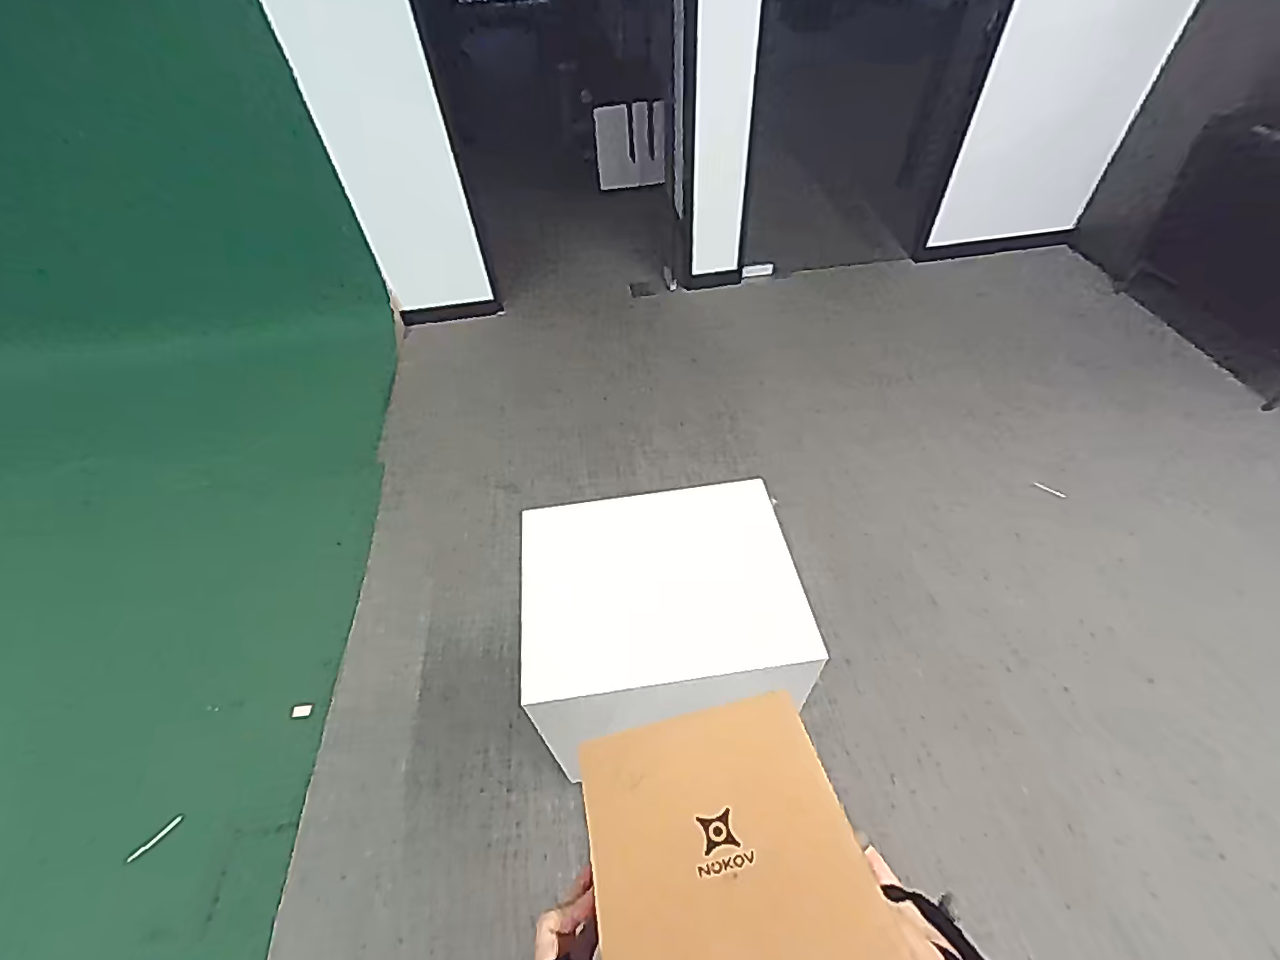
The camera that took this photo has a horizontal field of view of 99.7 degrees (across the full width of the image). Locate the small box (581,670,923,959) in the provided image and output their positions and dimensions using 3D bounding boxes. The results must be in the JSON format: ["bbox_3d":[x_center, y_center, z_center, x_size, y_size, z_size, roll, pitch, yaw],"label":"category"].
[{"bbox_3d":[0.060,0.273,0.383,0.168,0.176,0.179,-13,36,-5],"label":"small box"}]
